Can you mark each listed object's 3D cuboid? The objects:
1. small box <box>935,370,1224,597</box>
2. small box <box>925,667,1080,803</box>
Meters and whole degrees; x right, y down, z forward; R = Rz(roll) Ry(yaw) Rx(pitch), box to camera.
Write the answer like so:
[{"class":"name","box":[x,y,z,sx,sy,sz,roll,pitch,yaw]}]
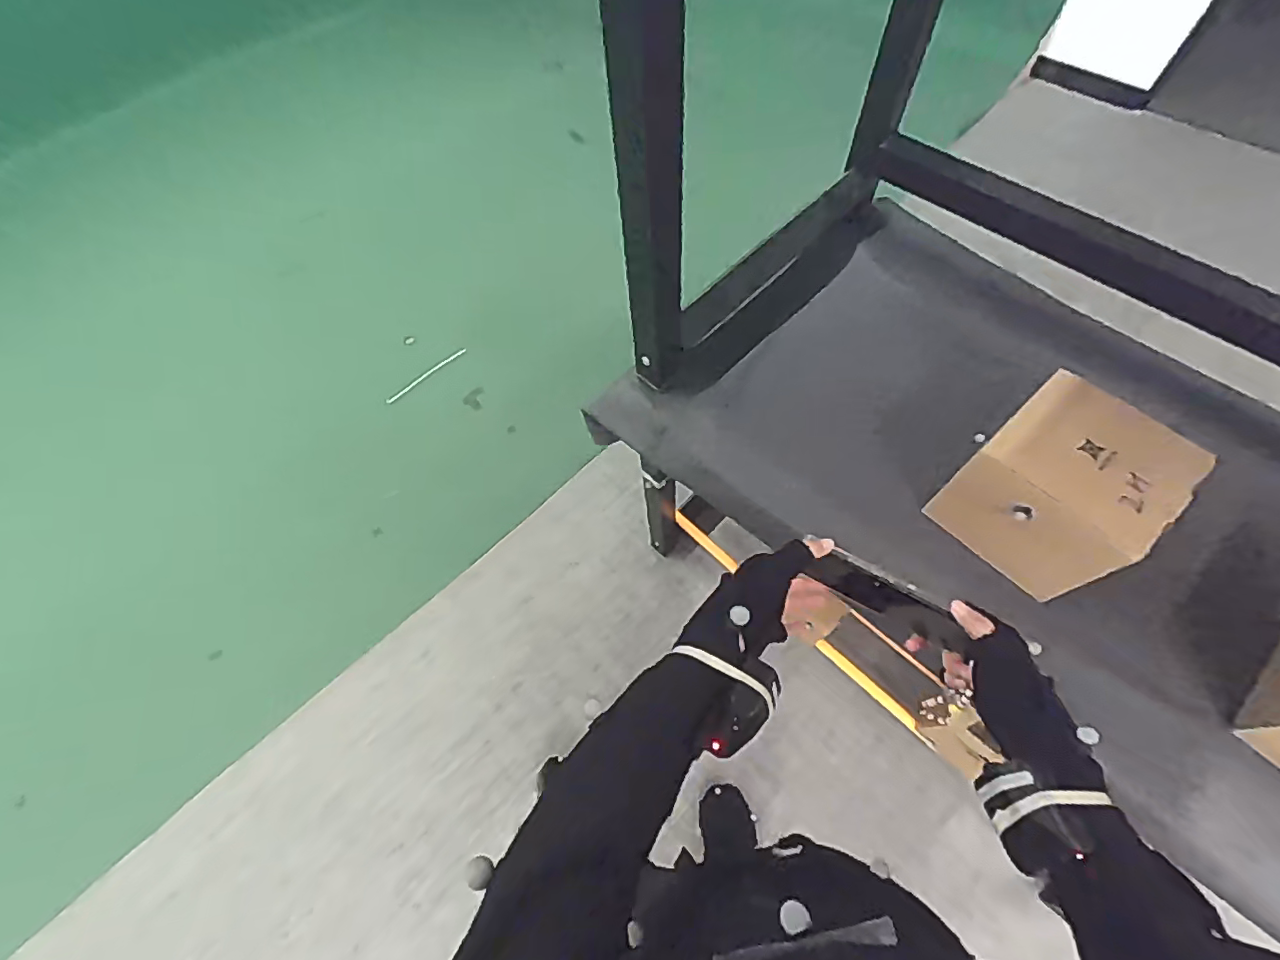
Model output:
[{"class":"small box","box":[0.496,0.012,0.643,0.168,0.176,0.179,-40,66,-15]},{"class":"small box","box":[0.702,0.505,1.074,0.179,0.176,0.168,-39,67,-15]}]
